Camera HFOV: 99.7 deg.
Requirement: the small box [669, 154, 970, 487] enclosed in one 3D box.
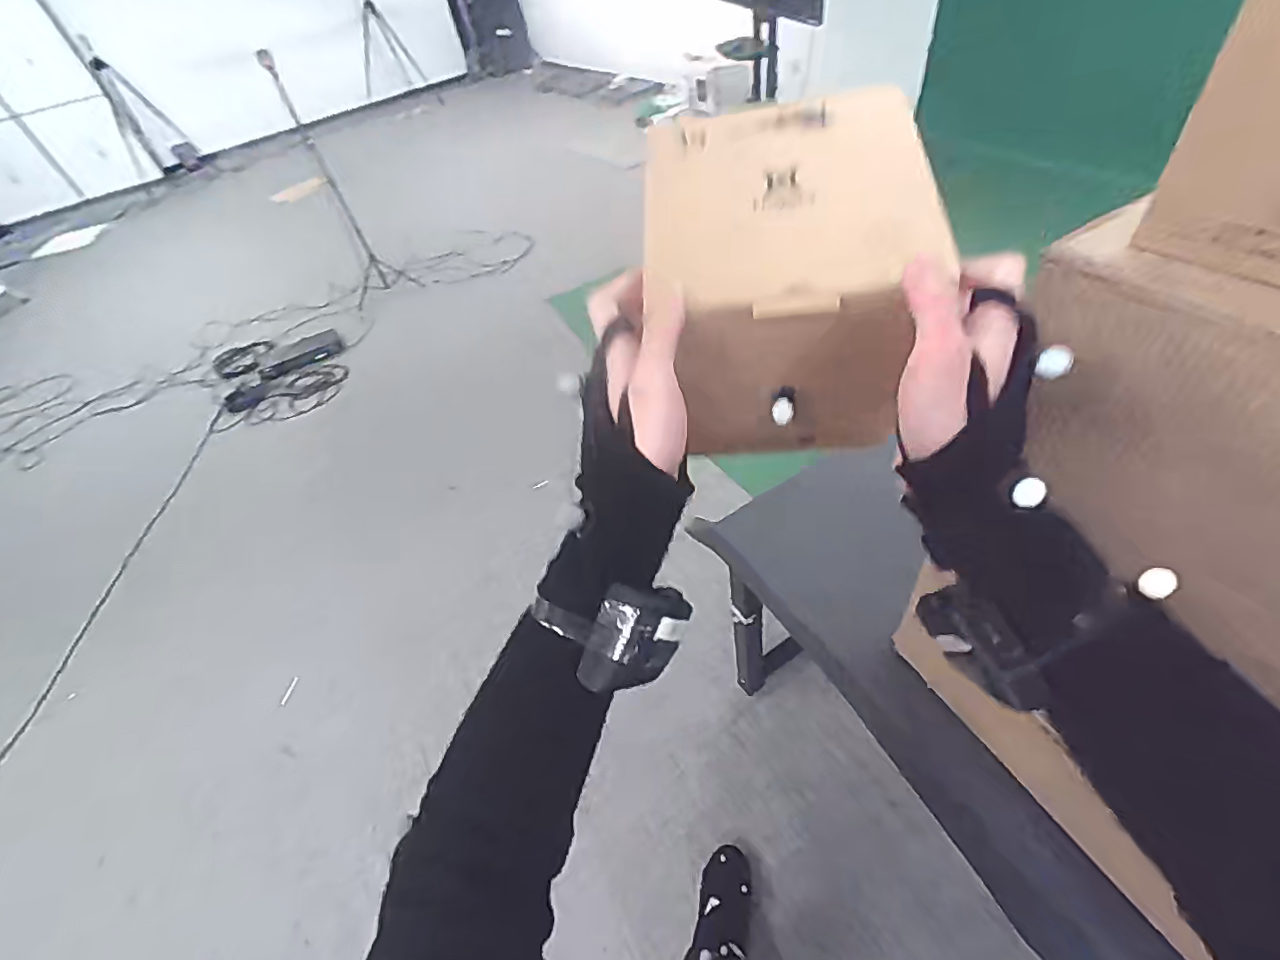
[{"bbox_3d":[0.114,-0.103,0.413,0.168,0.176,0.179,-5,62,8],"label":"small box"}]
